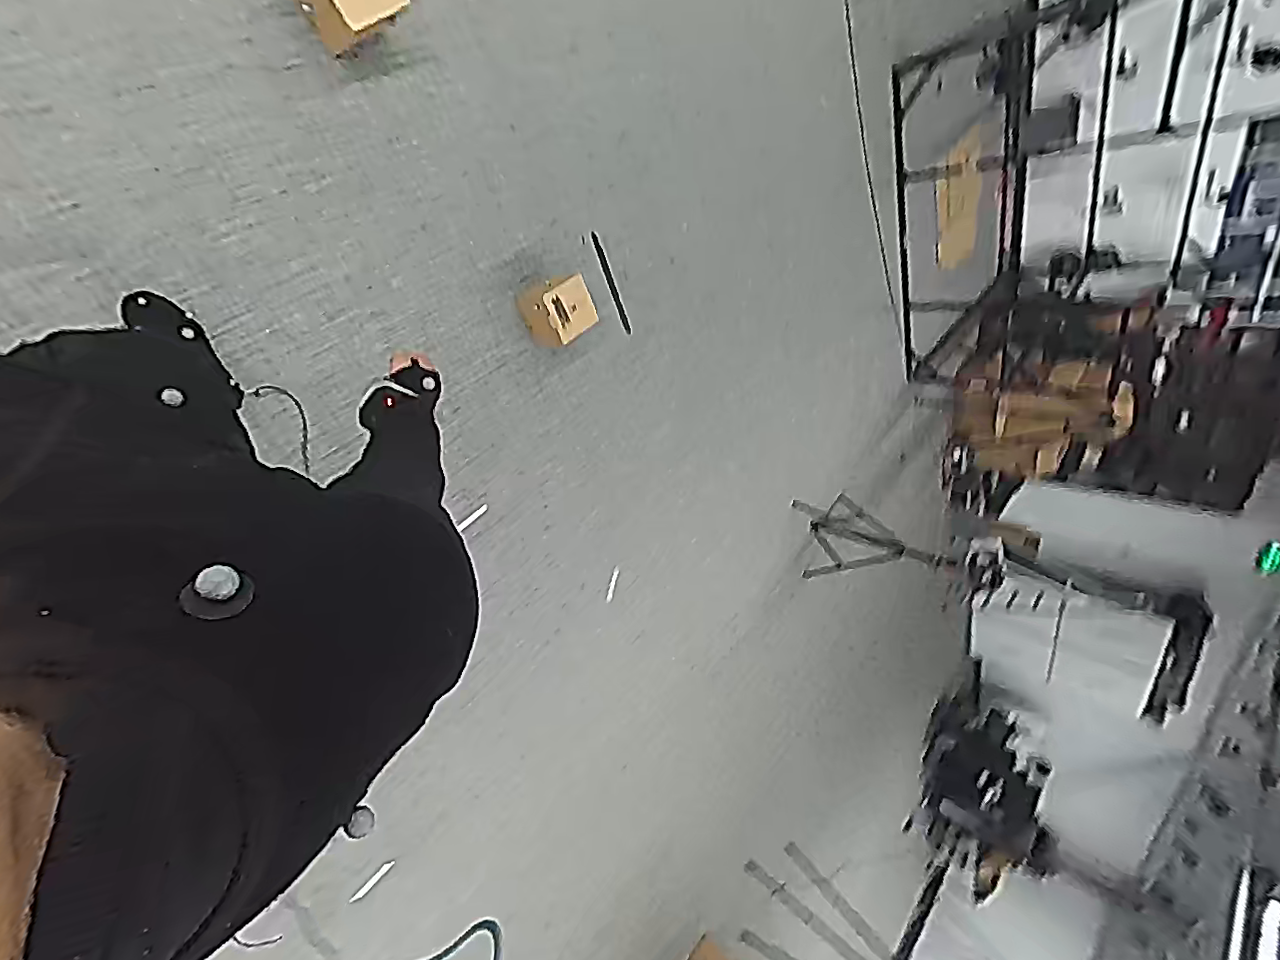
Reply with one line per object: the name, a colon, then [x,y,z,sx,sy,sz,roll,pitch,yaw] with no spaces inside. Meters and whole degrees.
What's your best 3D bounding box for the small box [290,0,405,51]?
small box: [-0.683,-1.125,1.228,0.179,0.176,0.168,-50,132,-22]
